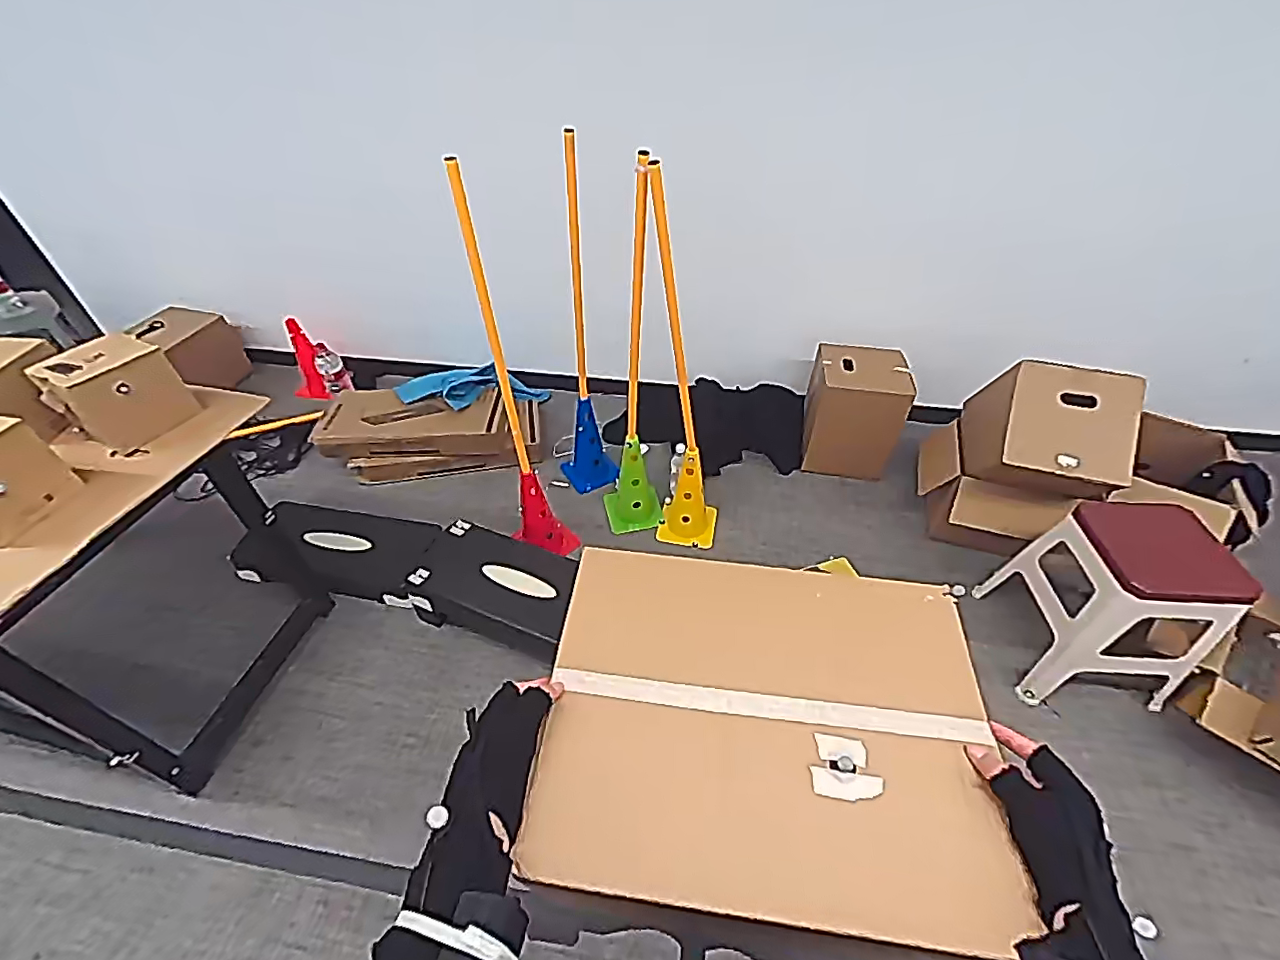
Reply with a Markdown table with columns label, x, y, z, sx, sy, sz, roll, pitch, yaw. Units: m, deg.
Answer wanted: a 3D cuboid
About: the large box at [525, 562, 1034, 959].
| label | x | y | z | sx | sy | sz | roll | pitch | yaw |
| --- | --- | --- | --- | --- | --- | --- | --- | --- | --- |
| large box | 0.118 | 0.324 | 0.628 | 0.408 | 0.320 | 0.320 | 6 | 49 | 6 |
